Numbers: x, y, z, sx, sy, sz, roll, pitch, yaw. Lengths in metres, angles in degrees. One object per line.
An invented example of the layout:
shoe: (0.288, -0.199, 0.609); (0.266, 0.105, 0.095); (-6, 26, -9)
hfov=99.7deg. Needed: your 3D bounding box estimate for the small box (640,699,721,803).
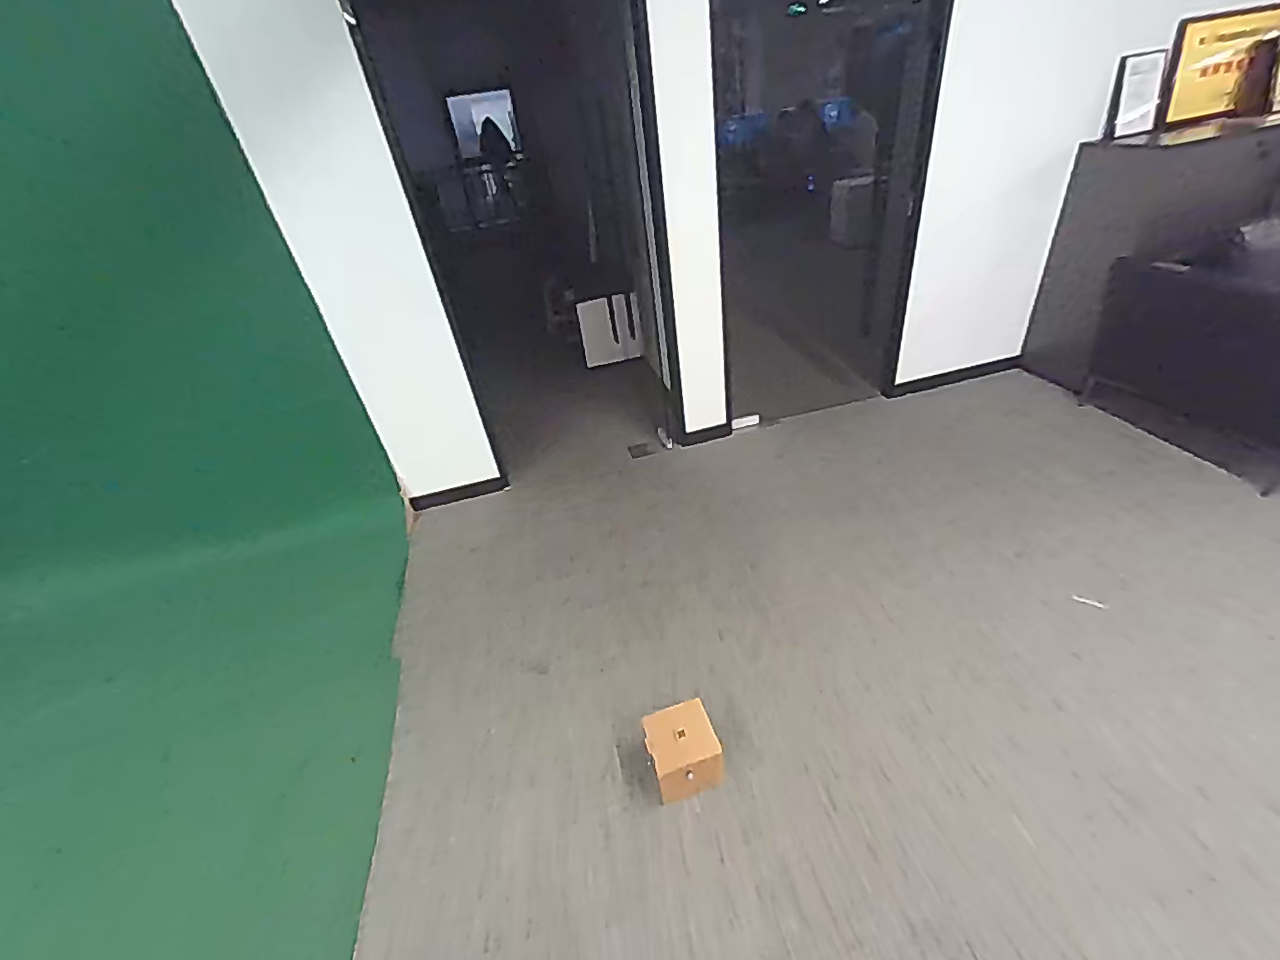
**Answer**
small box: (0.110, 0.733, 1.463); (0.179, 0.176, 0.168); (-16, 36, -9)
